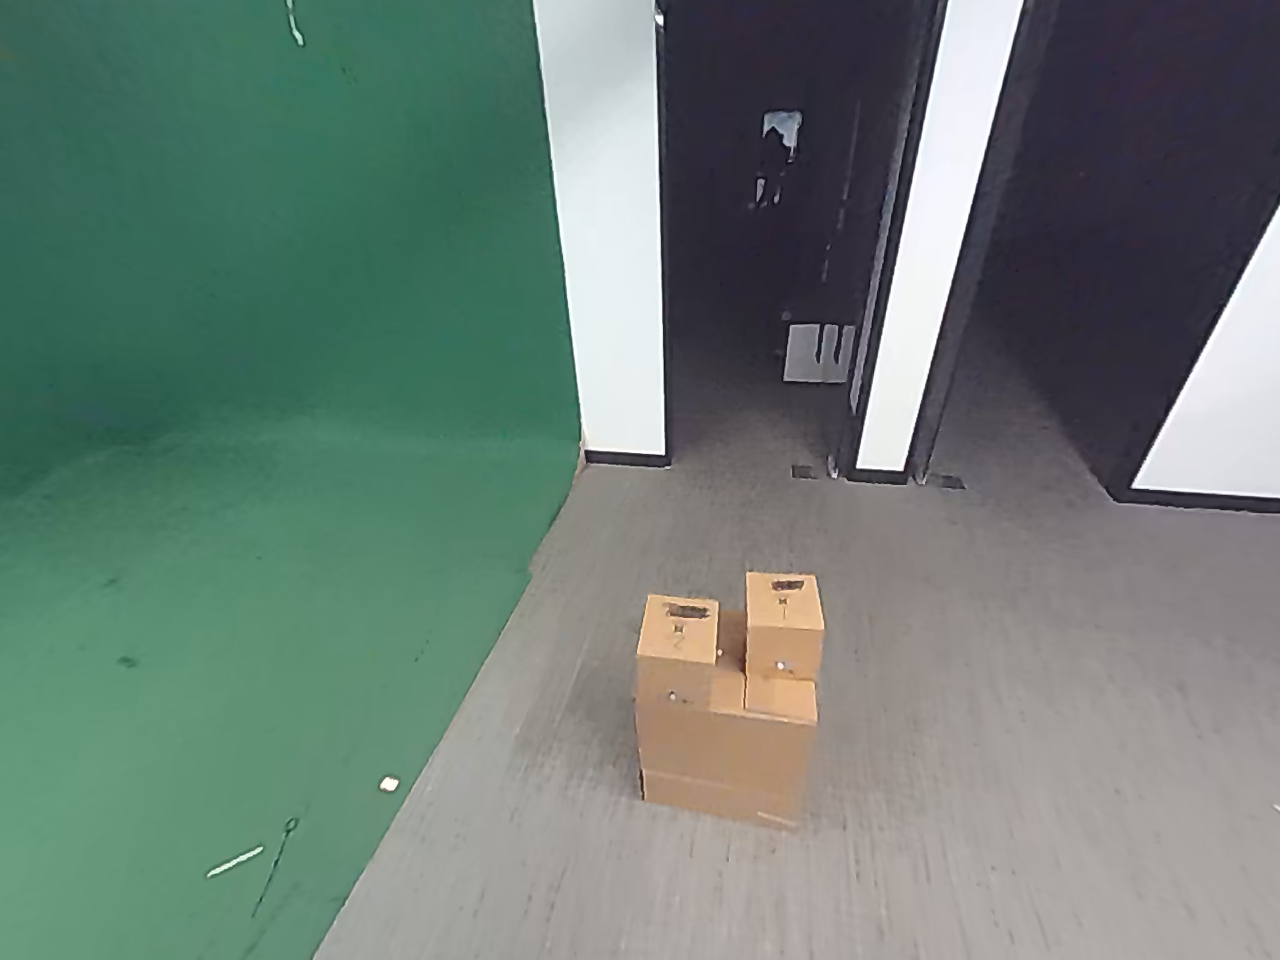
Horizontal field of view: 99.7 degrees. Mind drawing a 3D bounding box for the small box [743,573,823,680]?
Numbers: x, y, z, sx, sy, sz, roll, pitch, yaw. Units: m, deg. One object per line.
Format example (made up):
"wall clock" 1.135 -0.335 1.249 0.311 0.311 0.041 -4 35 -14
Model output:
"small box" 0.333 0.345 1.287 0.168 0.176 0.179 1 34 10
